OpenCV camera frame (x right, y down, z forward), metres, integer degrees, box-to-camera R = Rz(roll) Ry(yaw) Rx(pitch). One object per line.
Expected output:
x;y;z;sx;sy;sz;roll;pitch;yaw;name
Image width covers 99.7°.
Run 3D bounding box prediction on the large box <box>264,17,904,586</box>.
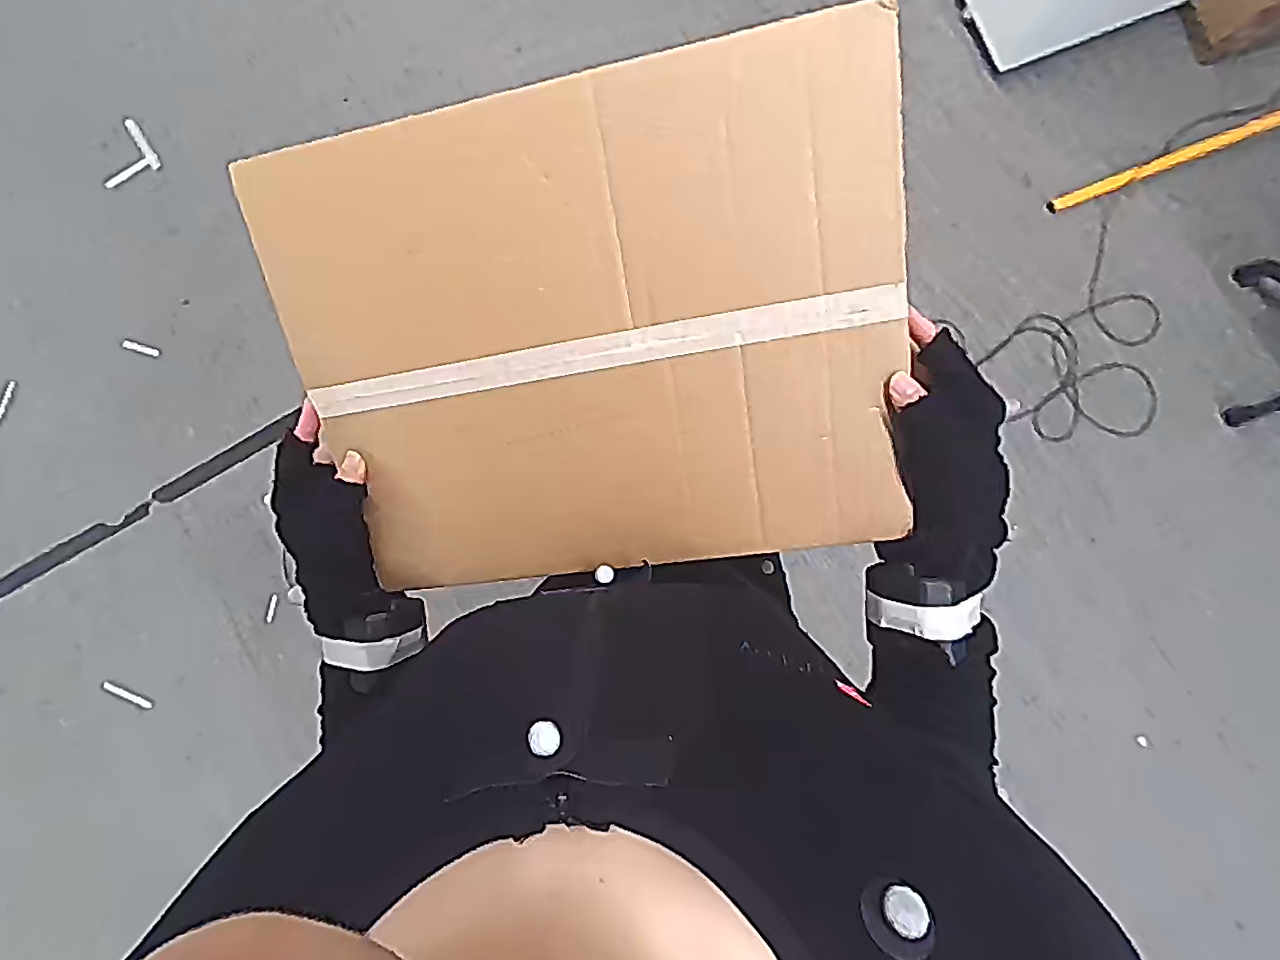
-0.019;-0.128;0.511;0.408;0.320;0.320;-8;108;9;large box
